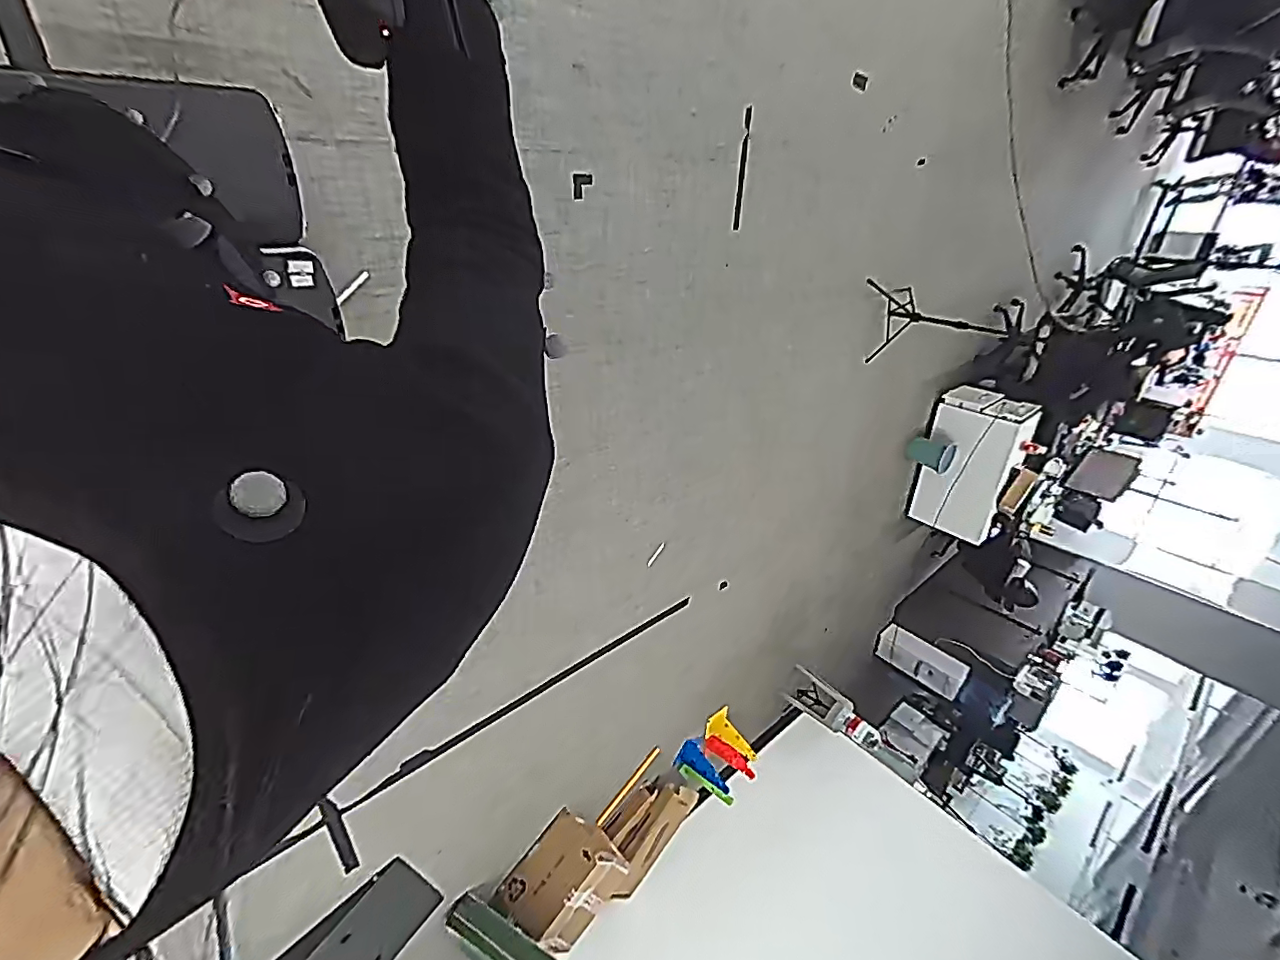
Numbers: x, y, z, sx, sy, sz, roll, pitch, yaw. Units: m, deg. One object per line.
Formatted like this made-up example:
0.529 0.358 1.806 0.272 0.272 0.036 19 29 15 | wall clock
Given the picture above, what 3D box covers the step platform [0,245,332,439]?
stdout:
-0.994 -0.282 1.051 0.684 0.204 0.286 -21 124 -33 | step platform
